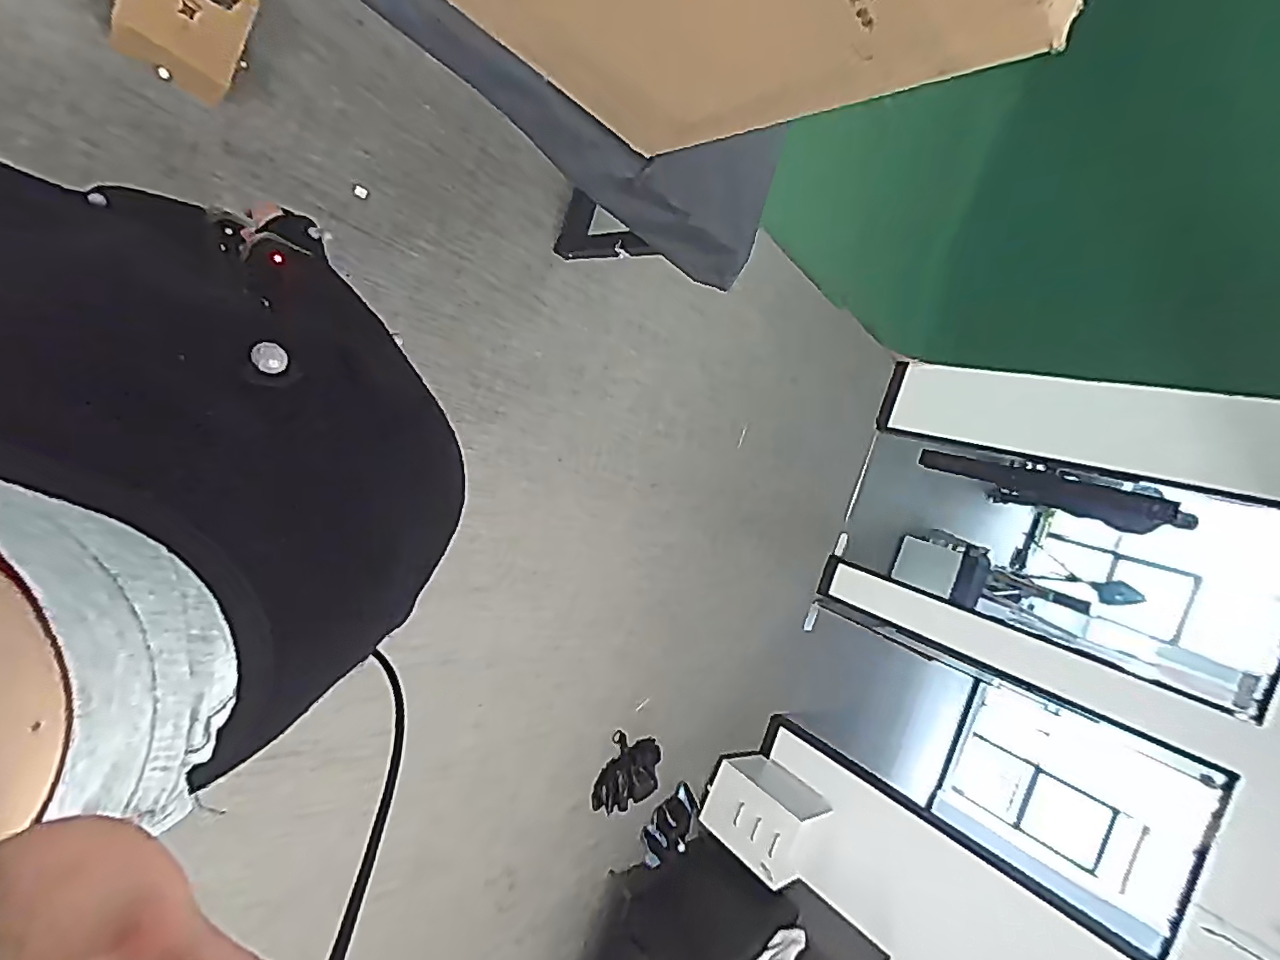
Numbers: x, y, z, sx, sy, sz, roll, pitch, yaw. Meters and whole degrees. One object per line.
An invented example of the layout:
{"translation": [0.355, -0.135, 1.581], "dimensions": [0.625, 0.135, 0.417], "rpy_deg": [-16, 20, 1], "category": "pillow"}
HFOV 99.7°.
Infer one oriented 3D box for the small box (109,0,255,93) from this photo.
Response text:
{"translation": [-0.849, -0.870, 1.002], "dimensions": [0.168, 0.176, 0.179], "rpy_deg": [21, 92, -46], "category": "small box"}
